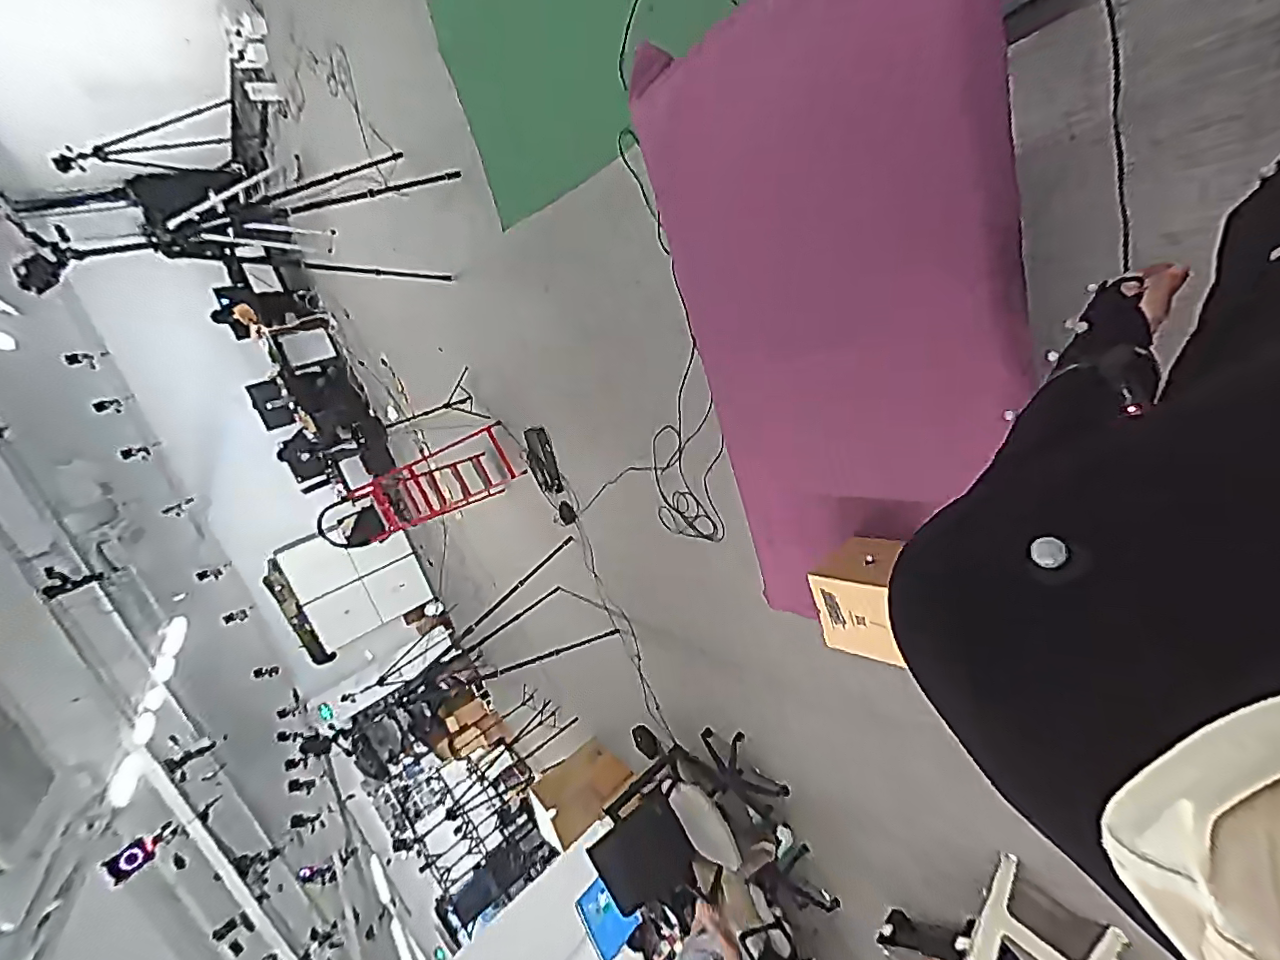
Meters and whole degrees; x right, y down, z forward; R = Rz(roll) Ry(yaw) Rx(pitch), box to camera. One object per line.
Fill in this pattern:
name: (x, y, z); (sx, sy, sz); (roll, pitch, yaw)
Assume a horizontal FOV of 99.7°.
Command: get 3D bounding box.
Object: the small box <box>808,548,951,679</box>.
small box: (0.455, 0.241, 1.027); (0.179, 0.176, 0.168); (-1, 112, 53)
